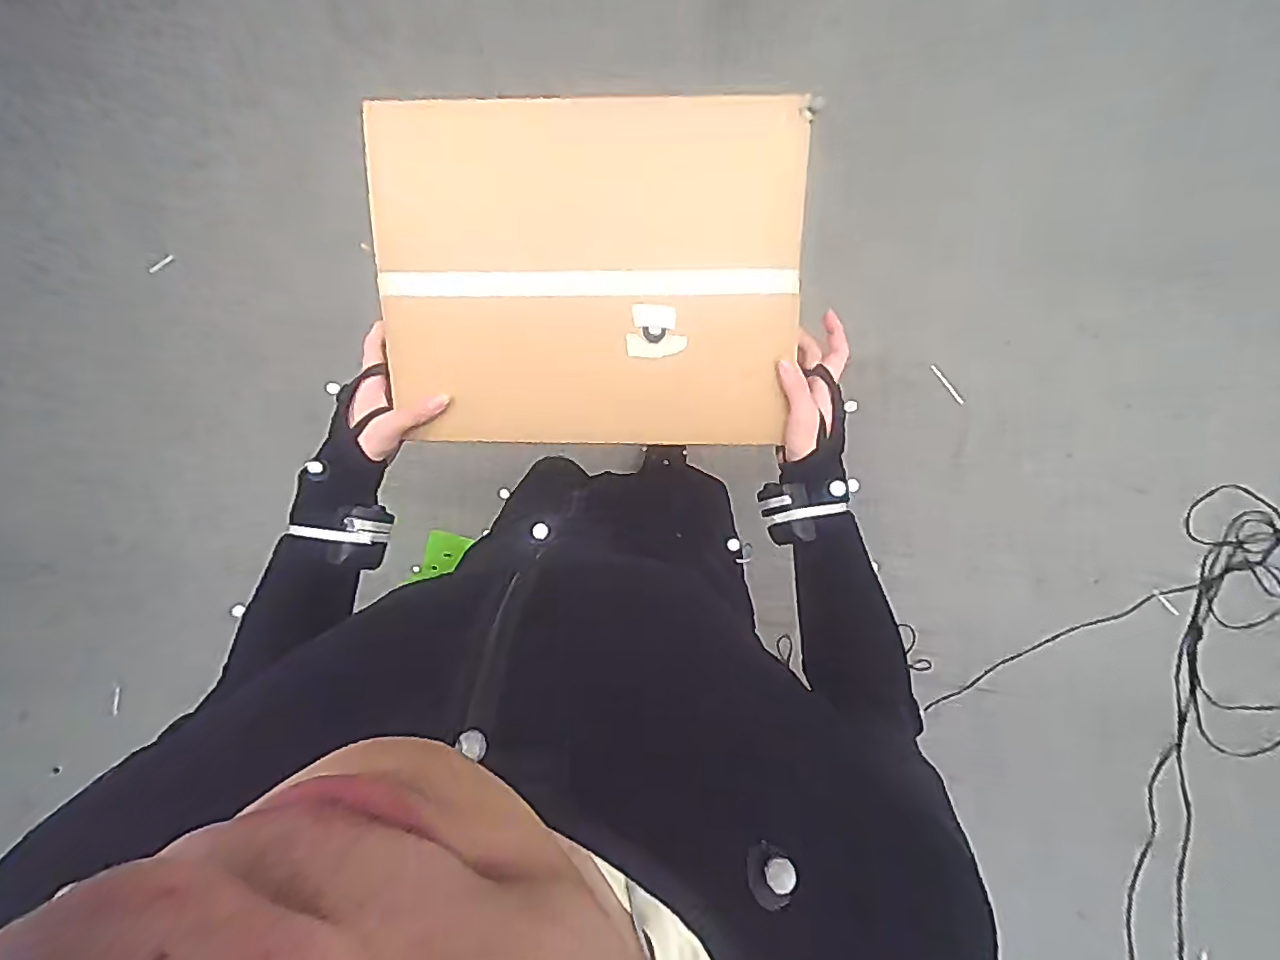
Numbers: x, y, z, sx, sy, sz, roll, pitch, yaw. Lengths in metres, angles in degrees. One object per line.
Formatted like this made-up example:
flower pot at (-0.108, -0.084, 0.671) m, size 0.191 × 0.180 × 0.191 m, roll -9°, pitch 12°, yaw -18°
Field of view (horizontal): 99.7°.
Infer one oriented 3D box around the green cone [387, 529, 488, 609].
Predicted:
green cone at (-0.590, 0.276, 1.494) m, size 0.200 × 0.368 × 0.202 m, roll 14°, pitch 95°, yaw 3°

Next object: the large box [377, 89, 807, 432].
large box at (-0.043, -0.235, 0.671) m, size 0.408 × 0.320 × 0.320 m, roll 0°, pitch 104°, yaw 2°
